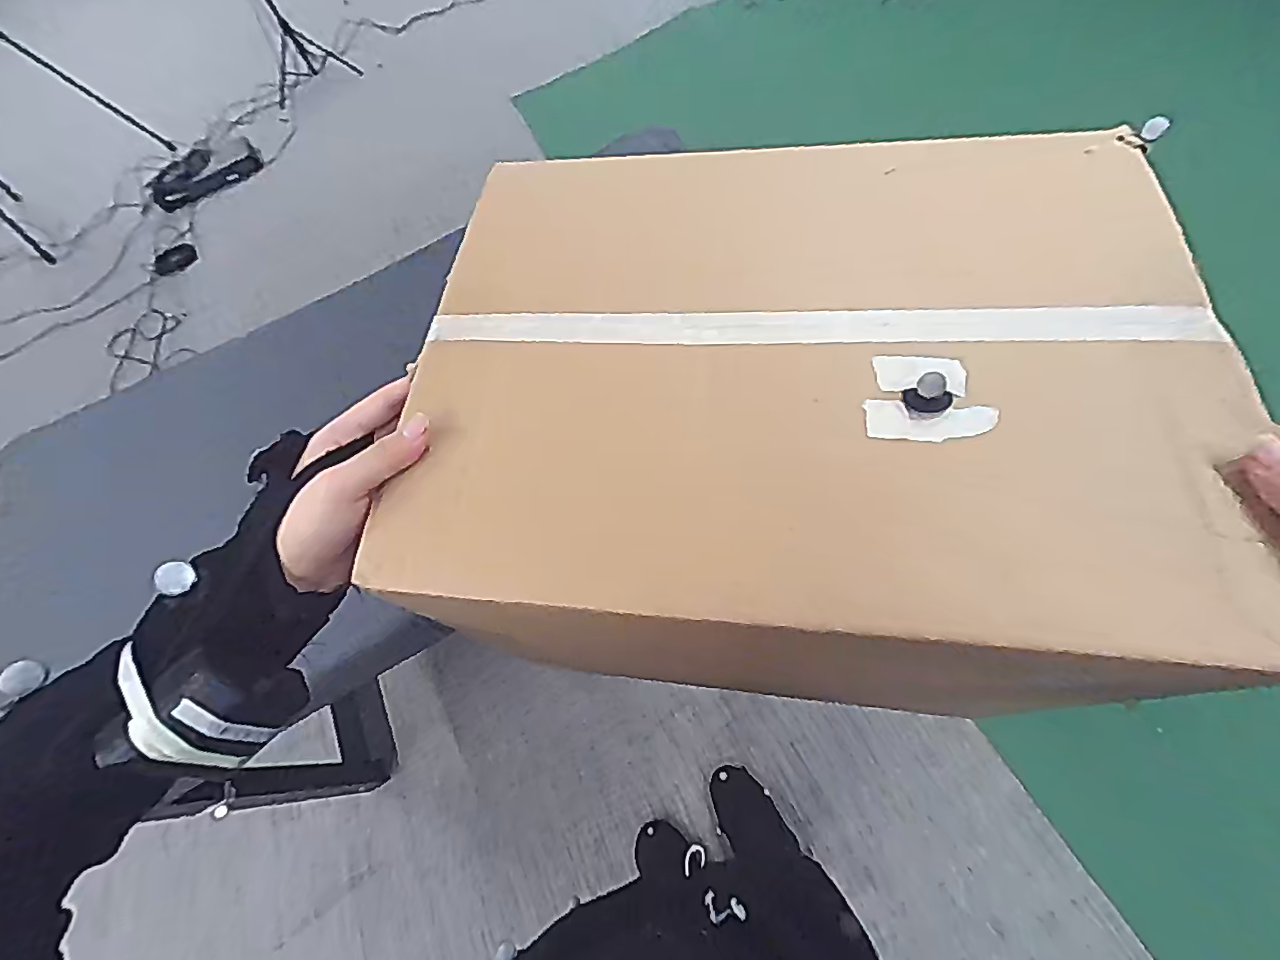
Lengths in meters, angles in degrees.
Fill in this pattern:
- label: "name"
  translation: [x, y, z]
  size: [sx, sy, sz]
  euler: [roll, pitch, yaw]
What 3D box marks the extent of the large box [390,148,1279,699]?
- label: "large box"
  translation: [0.099, -0.017, 0.439]
  size: [0.408, 0.320, 0.320]
  euler: [3, 65, 9]
